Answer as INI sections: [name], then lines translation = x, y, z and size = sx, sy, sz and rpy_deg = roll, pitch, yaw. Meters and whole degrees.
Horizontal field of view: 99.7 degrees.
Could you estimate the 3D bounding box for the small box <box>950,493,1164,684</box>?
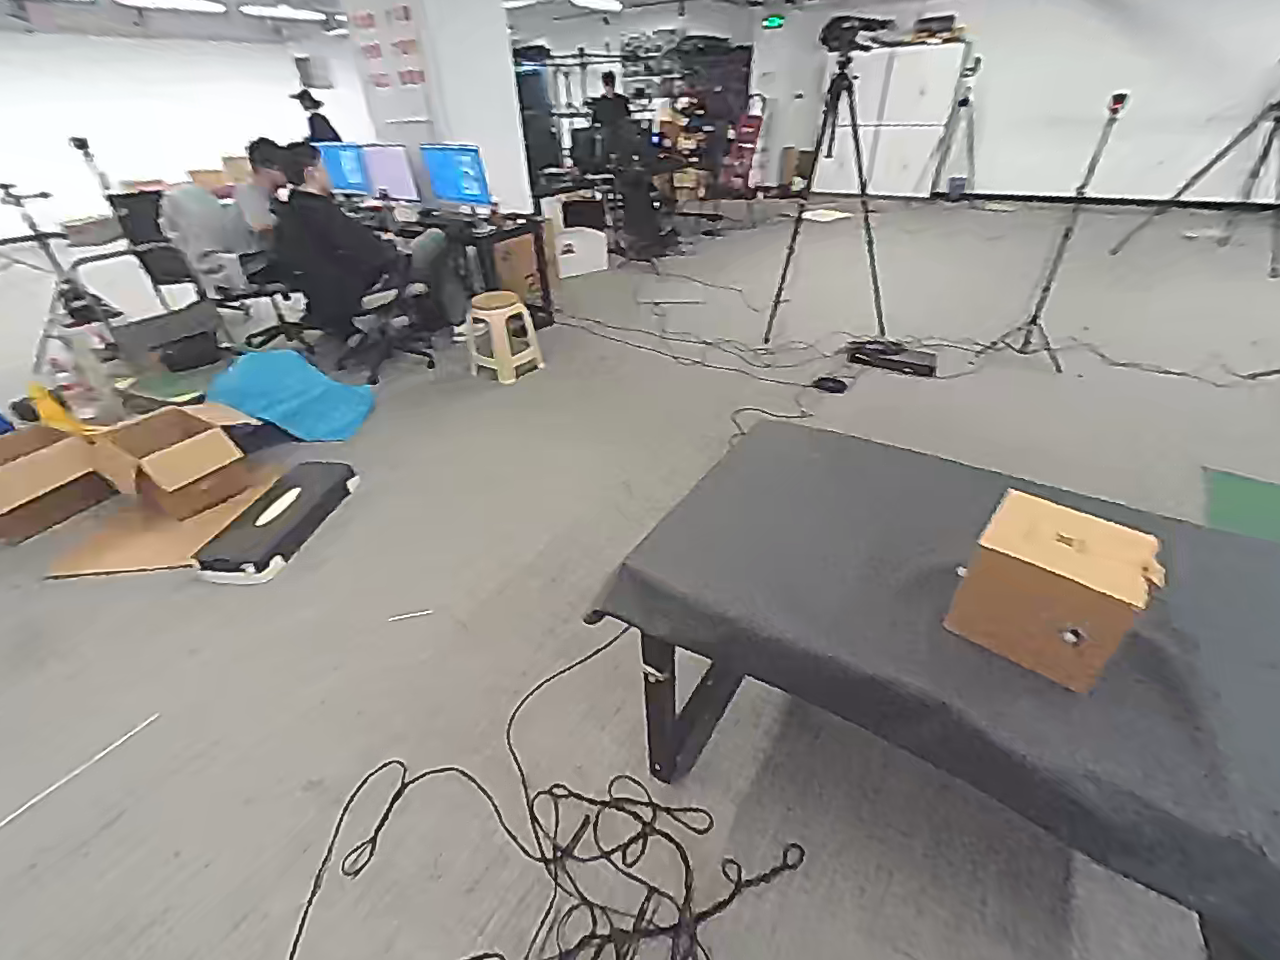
[small box]
translation = 0.568, 0.151, 0.751
size = 0.179, 0.176, 0.168
rpy_deg = 25, 42, 35
